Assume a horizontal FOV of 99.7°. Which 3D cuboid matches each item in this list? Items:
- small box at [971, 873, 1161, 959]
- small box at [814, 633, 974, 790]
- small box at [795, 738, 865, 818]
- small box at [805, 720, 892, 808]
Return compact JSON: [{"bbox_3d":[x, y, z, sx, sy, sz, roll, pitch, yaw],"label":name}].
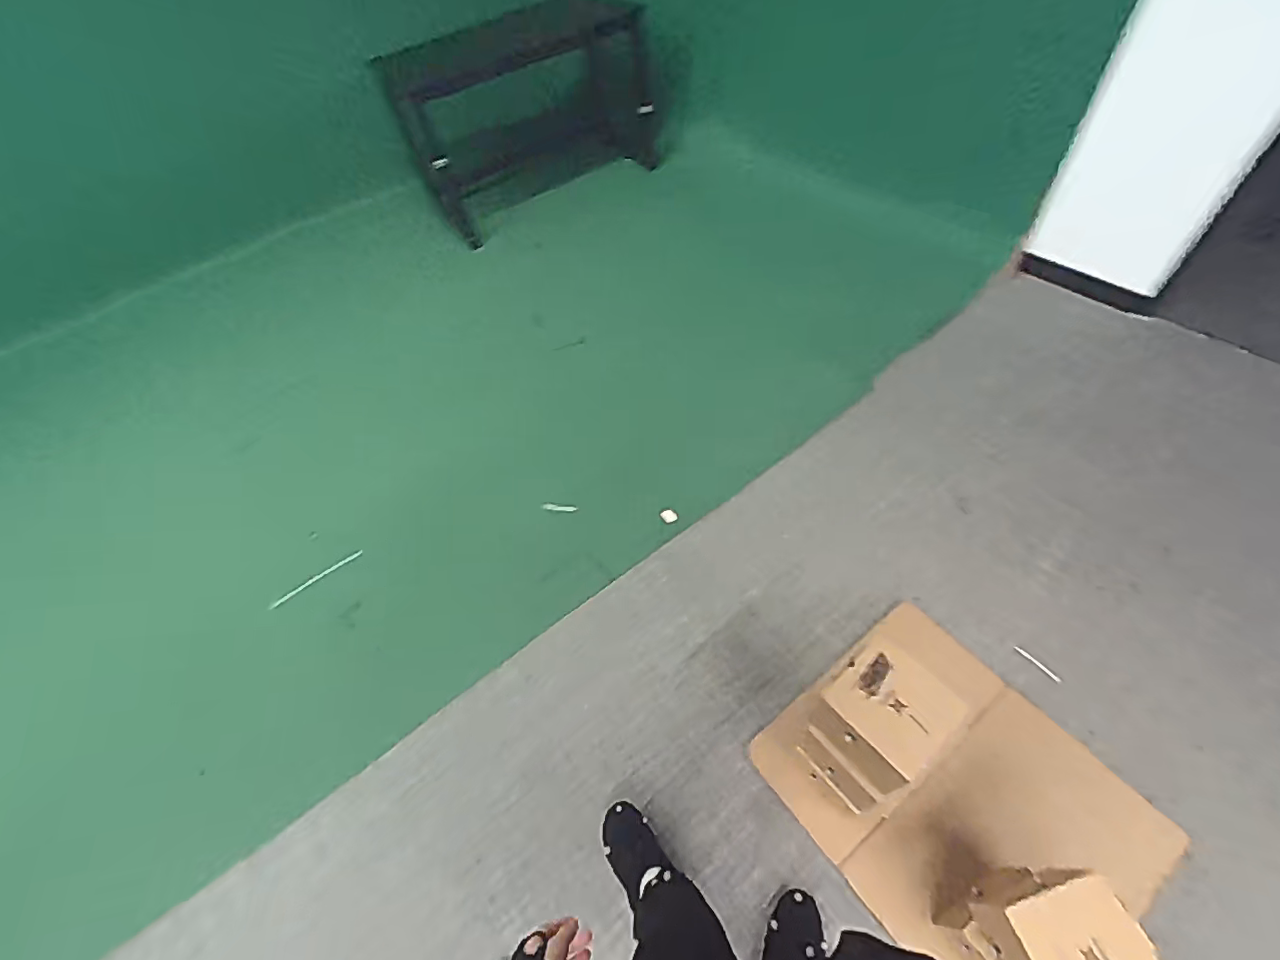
[{"bbox_3d":[0.681,0.752,0.867,0.179,0.176,0.168,-17,55,-4],"label":"small box"},{"bbox_3d":[0.431,0.411,0.950,0.168,0.176,0.179,-36,58,-17],"label":"small box"},{"bbox_3d":[0.463,0.619,1.203,0.179,0.176,0.168,-35,57,-17],"label":"small box"},{"bbox_3d":[0.447,0.518,1.074,0.179,0.176,0.168,-35,57,-17],"label":"small box"}]
